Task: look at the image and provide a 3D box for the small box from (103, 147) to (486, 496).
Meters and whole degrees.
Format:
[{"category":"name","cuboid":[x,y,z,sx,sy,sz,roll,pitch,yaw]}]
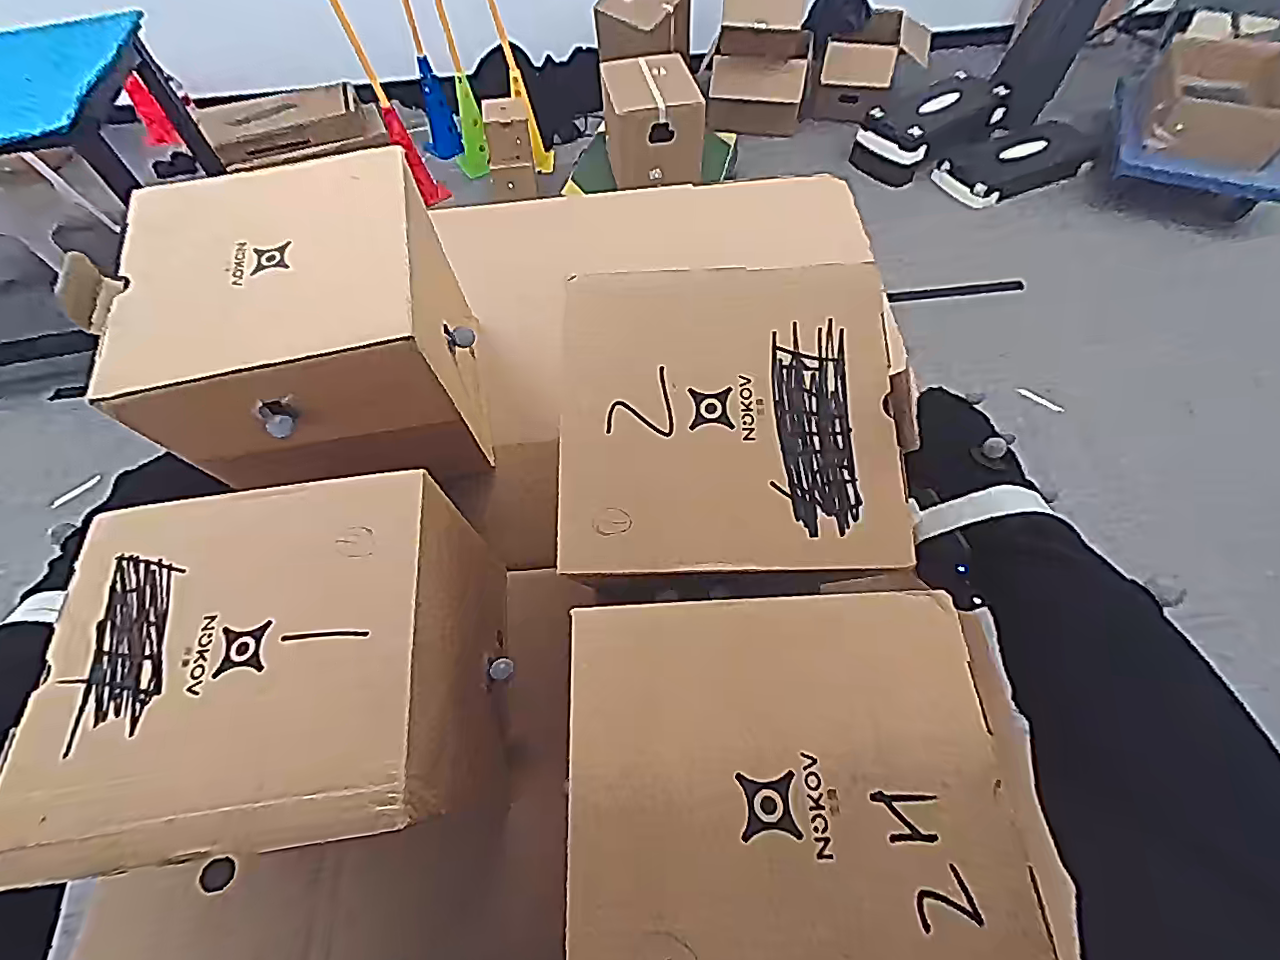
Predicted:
[{"category":"small box","cuboid":[-0.224,-0.105,0.406,0.179,0.176,0.168,-12,65,-2]}]
